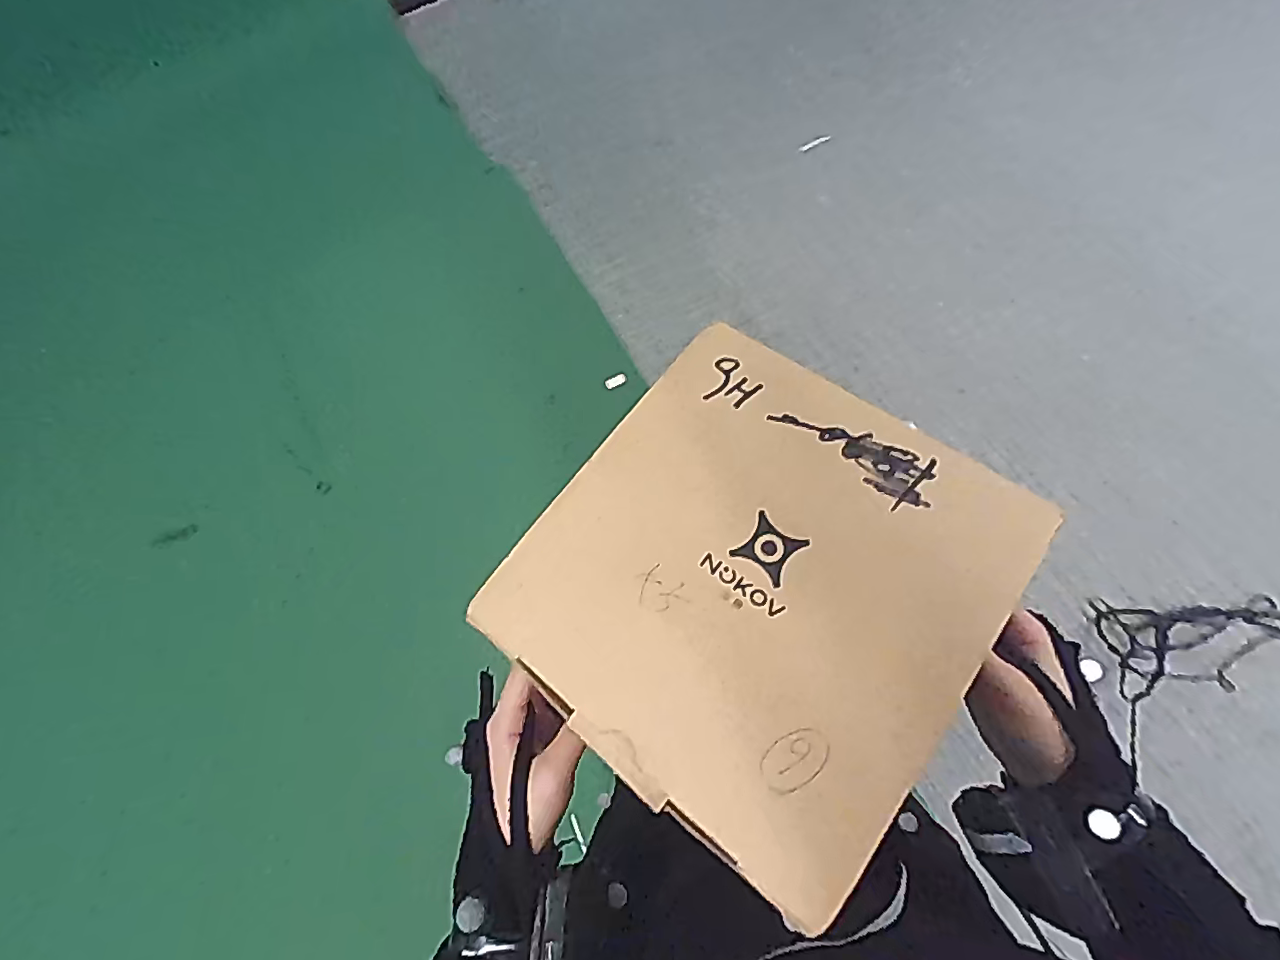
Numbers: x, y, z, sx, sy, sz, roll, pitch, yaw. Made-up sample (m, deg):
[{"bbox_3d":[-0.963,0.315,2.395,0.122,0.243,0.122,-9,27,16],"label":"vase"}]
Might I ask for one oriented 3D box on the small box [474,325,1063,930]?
[{"bbox_3d":[0.056,0.063,0.286,0.168,0.176,0.179,37,78,19],"label":"small box"}]
